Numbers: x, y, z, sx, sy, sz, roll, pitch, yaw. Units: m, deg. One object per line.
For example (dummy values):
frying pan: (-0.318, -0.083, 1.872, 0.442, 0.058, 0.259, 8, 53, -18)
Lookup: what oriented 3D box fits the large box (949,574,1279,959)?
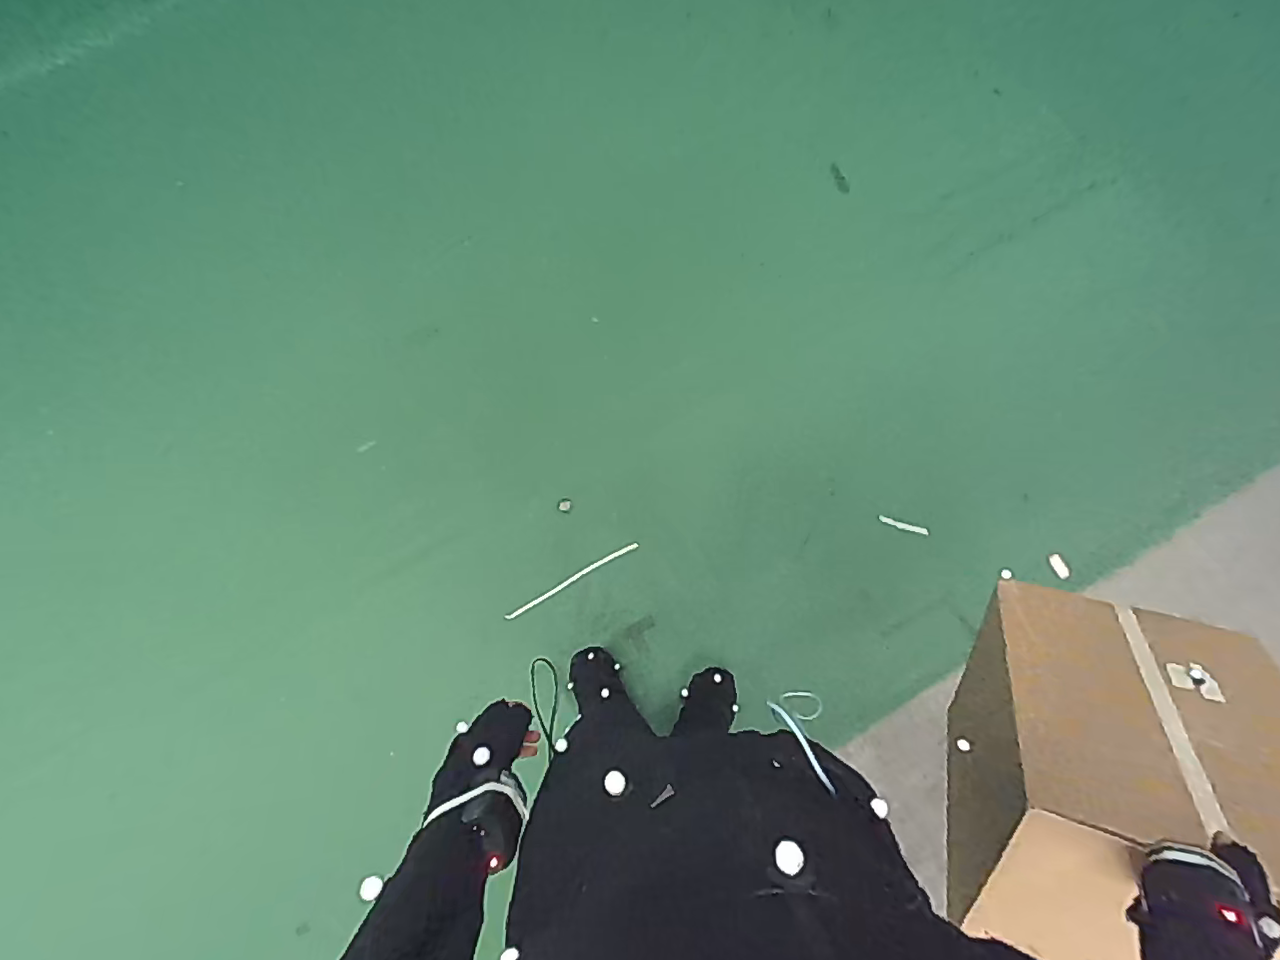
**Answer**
large box: (0.624, 0.395, 0.722, 0.320, 0.408, 0.320, 13, 121, 22)
